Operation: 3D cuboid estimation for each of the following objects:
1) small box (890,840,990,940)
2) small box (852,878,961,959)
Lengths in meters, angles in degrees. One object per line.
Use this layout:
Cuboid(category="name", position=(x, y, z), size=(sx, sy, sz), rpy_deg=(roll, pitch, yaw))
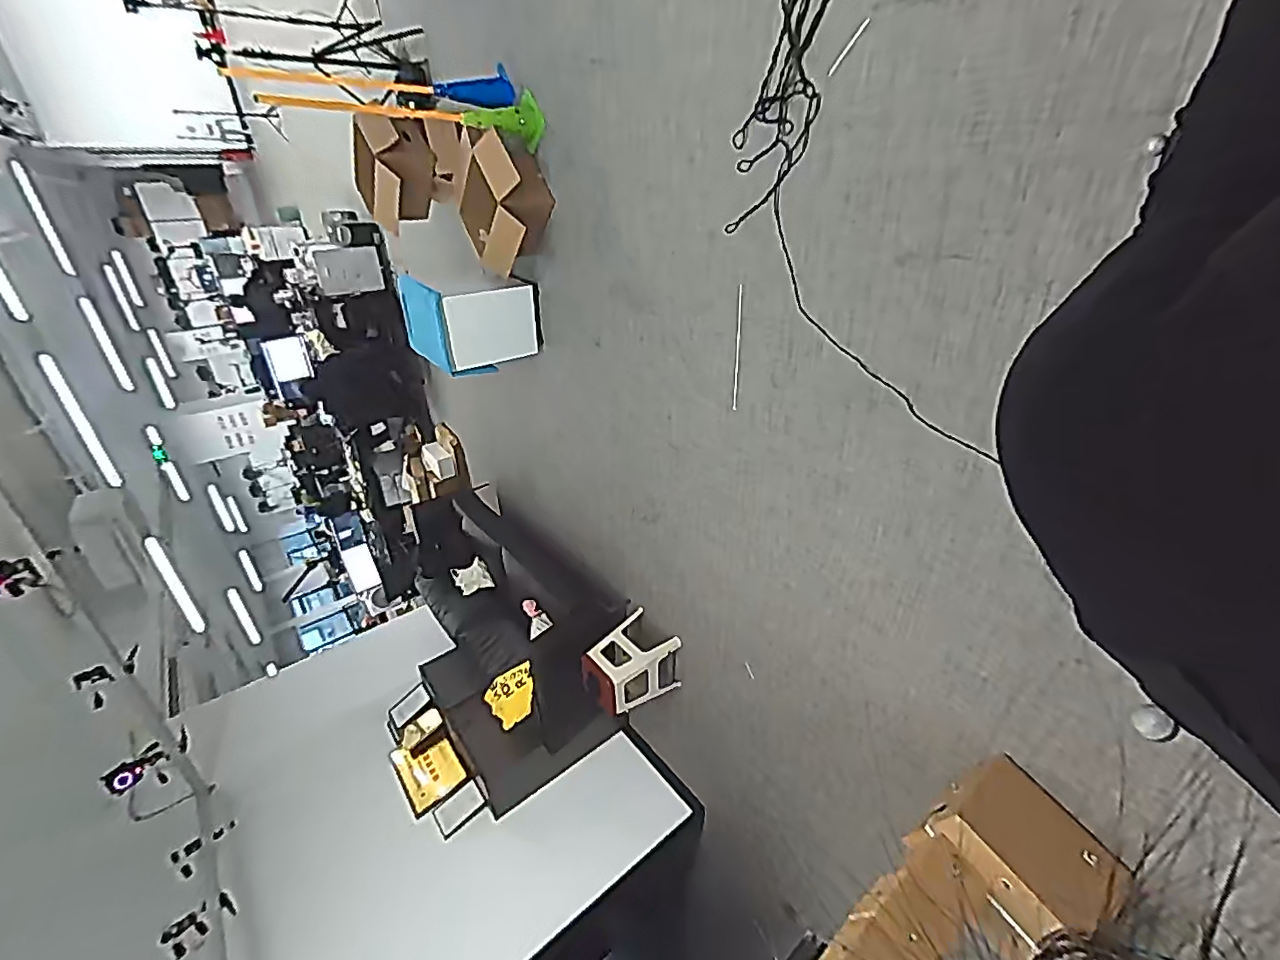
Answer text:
Cuboid(category="small box", position=(0.865, 1.190, 1.566), size=(0.168, 0.176, 0.179), rpy_deg=(47, 143, 30))
Cuboid(category="small box", position=(0.731, 1.237, 1.487), size=(0.179, 0.176, 0.168), rpy_deg=(48, 144, 28))
